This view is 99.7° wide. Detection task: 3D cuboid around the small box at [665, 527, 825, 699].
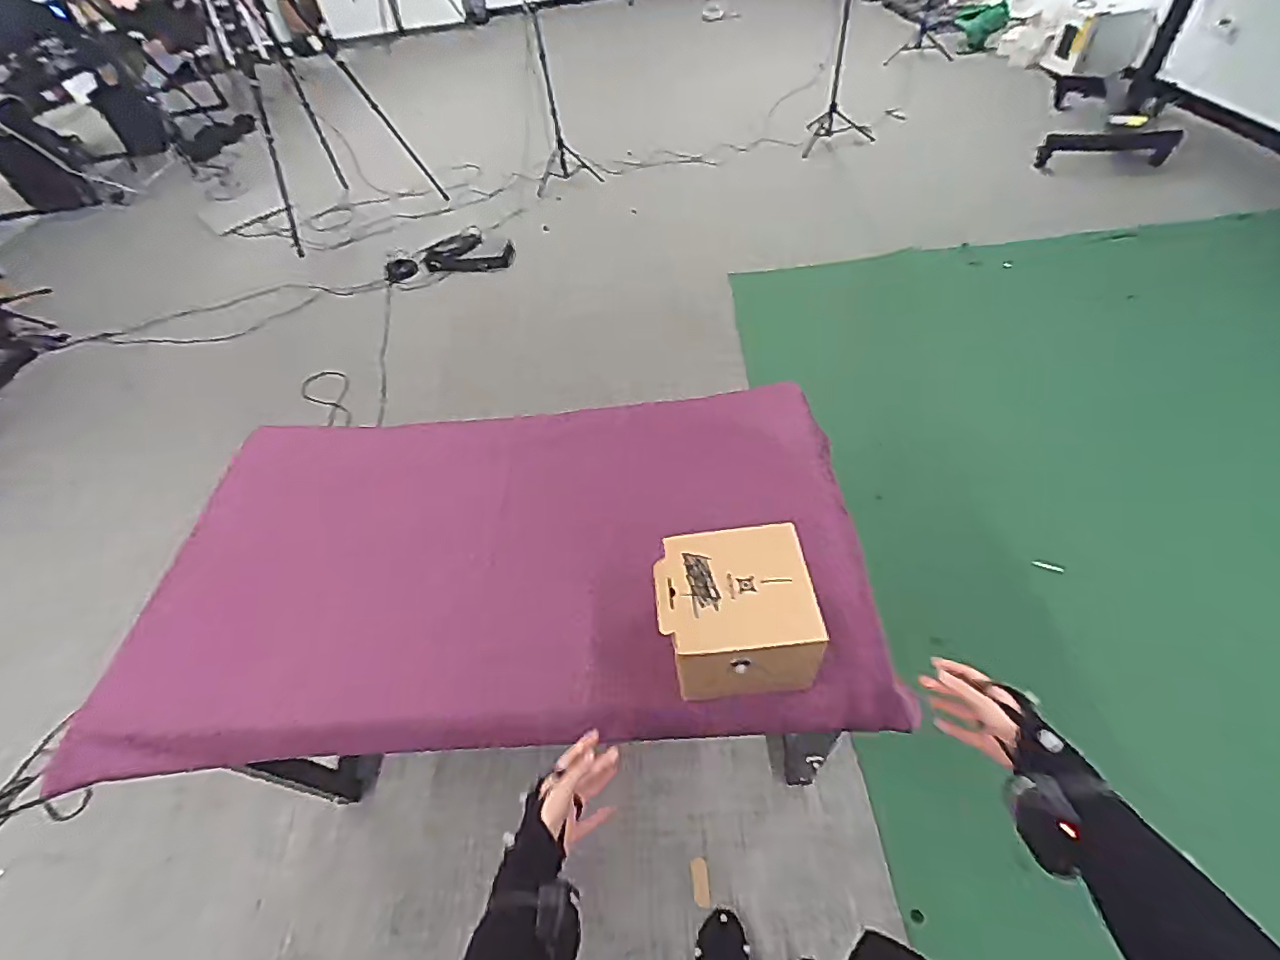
[{"bbox_3d":[0.133,0.185,0.733,0.179,0.176,0.168,-6,50,3],"label":"small box"}]
